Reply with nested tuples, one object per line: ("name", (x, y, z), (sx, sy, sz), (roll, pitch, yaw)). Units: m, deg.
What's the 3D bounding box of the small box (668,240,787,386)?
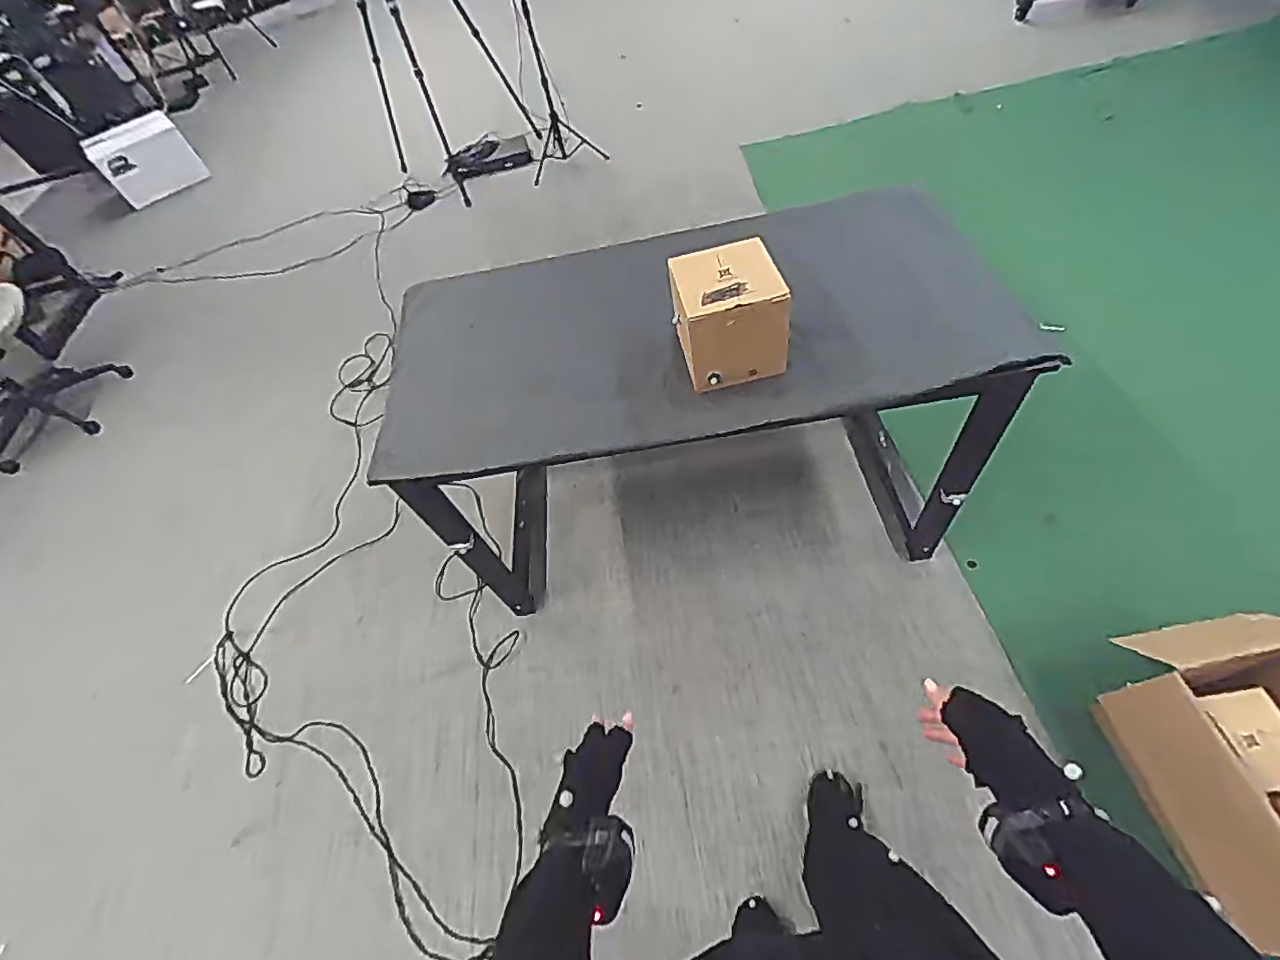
("small box", (0.154, -0.285, 0.954), (0.168, 0.176, 0.179), (-13, 53, 2))
